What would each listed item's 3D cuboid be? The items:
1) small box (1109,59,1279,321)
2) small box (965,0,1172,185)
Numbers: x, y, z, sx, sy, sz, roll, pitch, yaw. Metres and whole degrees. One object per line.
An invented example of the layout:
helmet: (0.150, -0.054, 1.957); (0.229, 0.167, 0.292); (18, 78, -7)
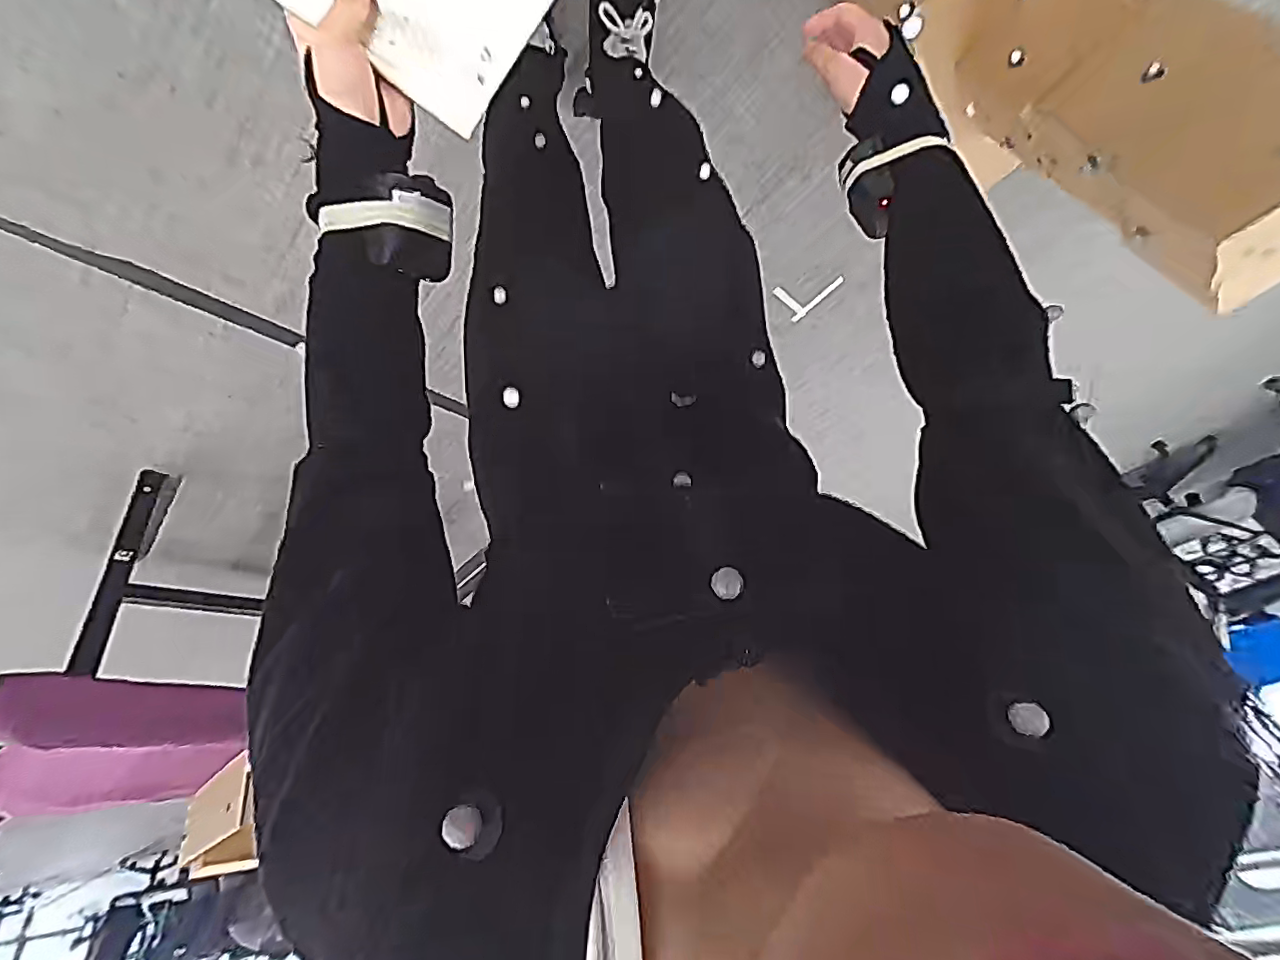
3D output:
small box: (0.700, -0.329, 0.623); (0.168, 0.176, 0.179); (21, 132, -42)
small box: (0.619, -0.595, 0.800); (0.168, 0.176, 0.179); (18, 133, -41)
